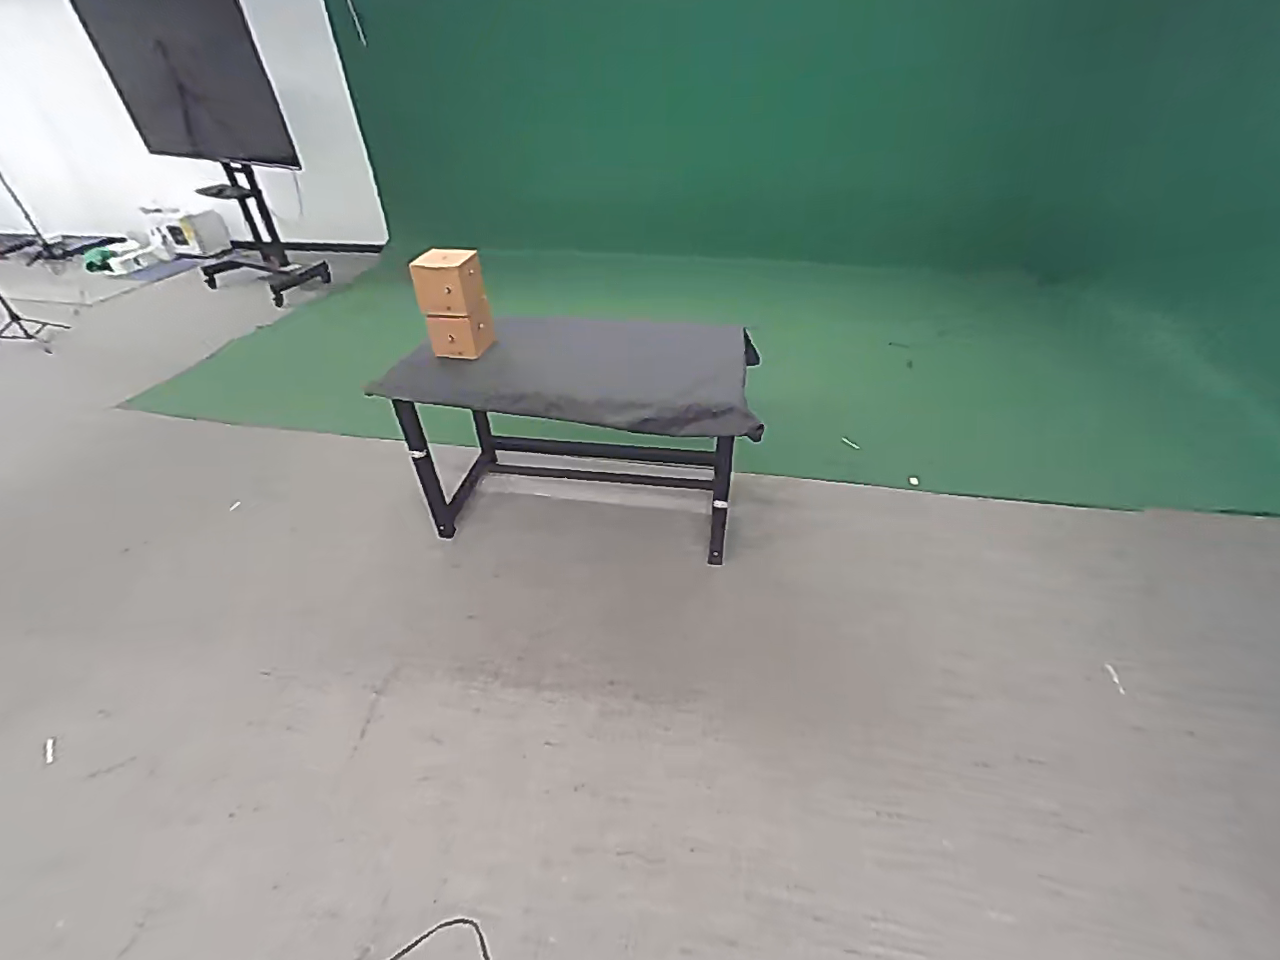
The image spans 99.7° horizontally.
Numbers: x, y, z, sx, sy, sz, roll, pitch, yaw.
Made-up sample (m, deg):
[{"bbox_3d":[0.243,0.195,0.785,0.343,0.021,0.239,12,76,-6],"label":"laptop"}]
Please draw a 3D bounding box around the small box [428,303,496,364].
[{"bbox_3d":[-0.640,-0.538,1.973,0.168,0.176,0.179,7,39,9],"label":"small box"}]

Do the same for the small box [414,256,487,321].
[{"bbox_3d":[-0.643,-0.657,1.861,0.168,0.176,0.179,6,38,7],"label":"small box"}]
